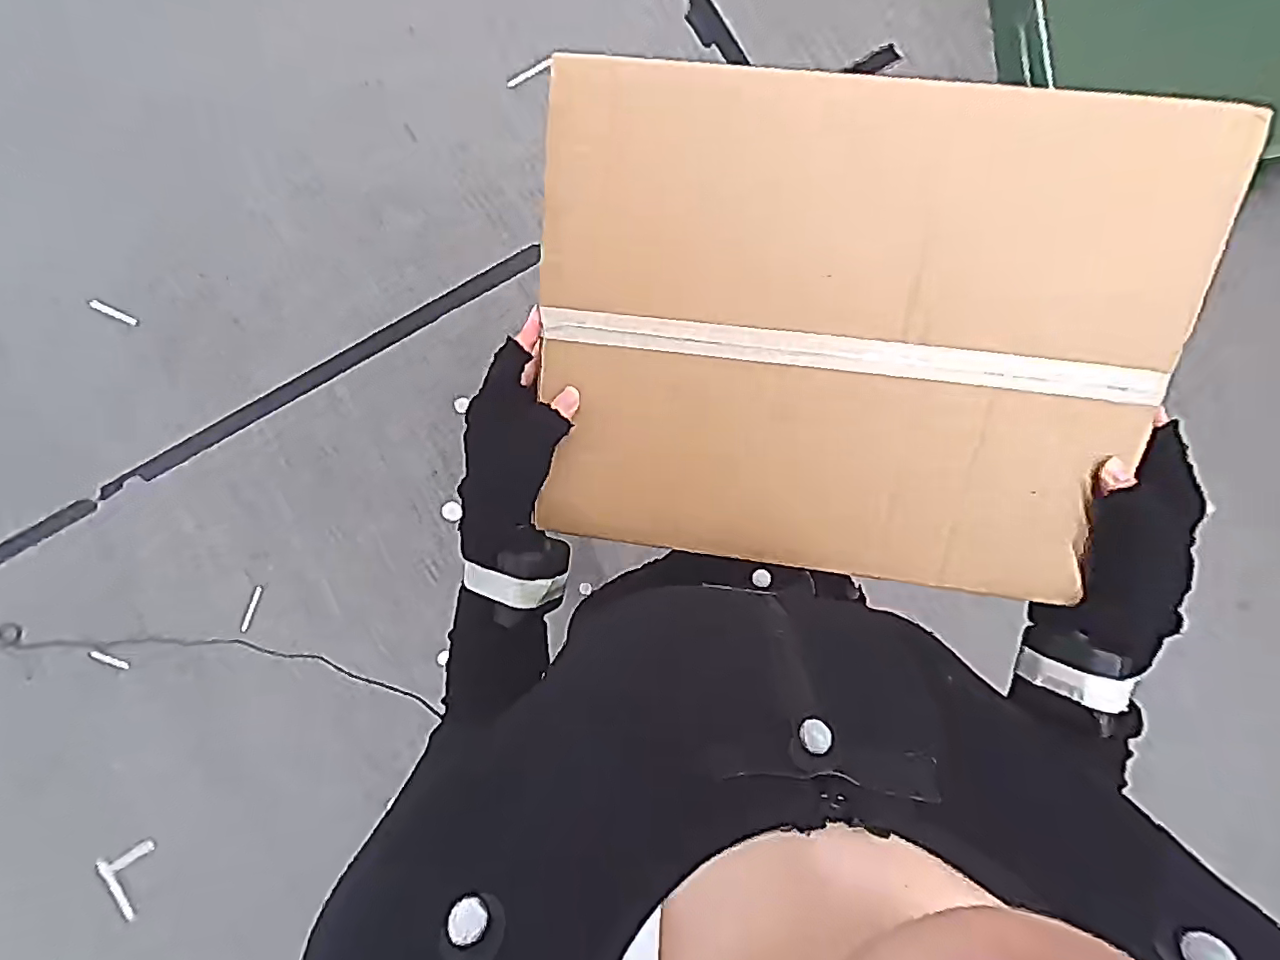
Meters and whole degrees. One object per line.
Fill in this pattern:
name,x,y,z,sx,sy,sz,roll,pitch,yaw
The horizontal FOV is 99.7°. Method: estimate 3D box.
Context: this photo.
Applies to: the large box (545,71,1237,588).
large box,0.148,-0.129,0.510,0.408,0.320,0.320,8,109,4
